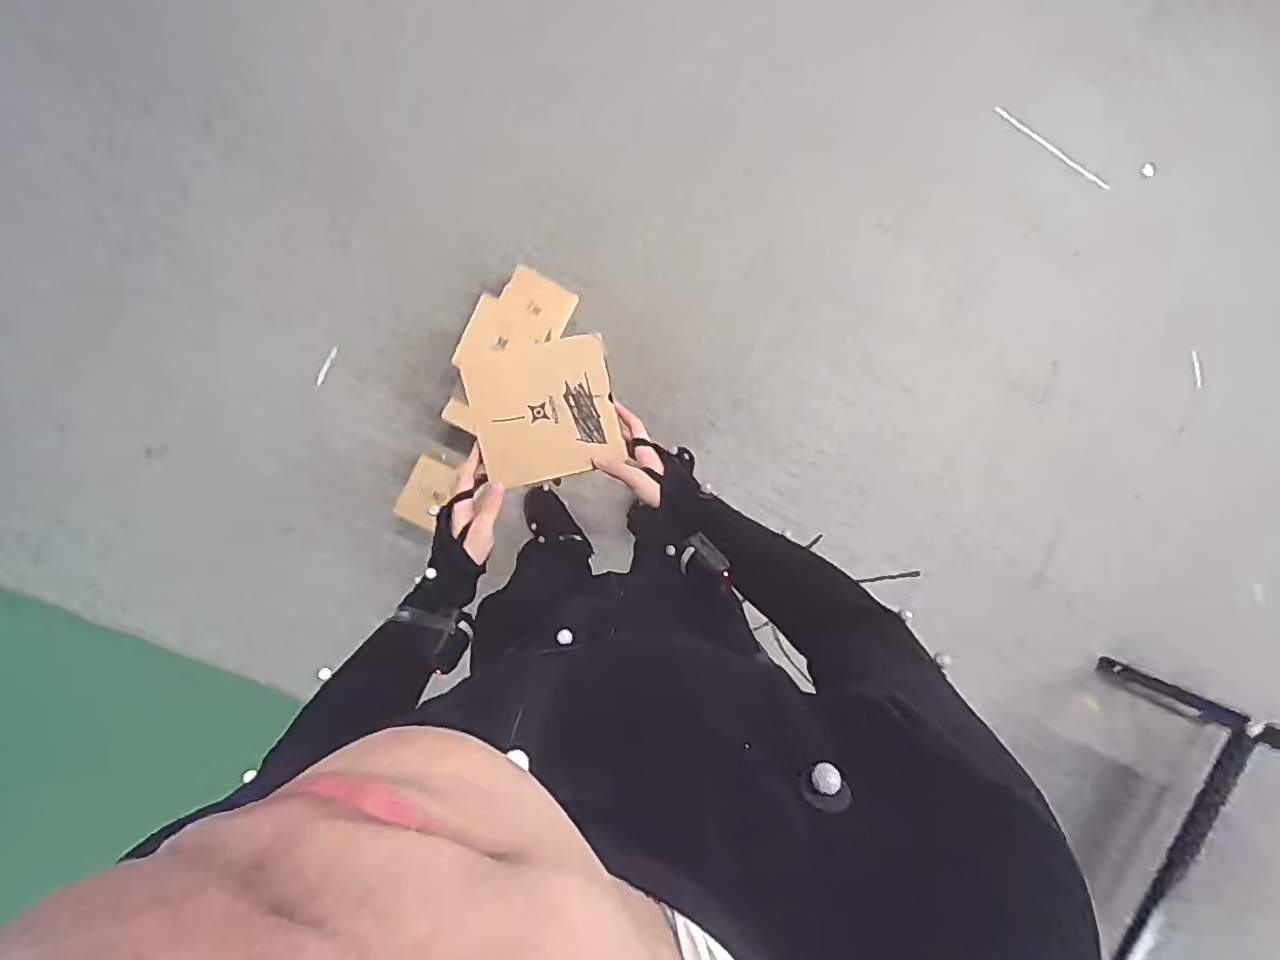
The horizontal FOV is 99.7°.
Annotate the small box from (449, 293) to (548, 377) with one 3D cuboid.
[{"bbox_3d":[-0.324,-0.306,1.277,0.168,0.176,0.179,25,89,-11],"label":"small box"}]

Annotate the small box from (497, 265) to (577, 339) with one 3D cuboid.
[{"bbox_3d":[-0.283,-0.437,1.439,0.179,0.176,0.168,27,91,-10],"label":"small box"}]

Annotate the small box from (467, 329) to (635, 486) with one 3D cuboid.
[{"bbox_3d":[-0.117,-0.095,0.730,0.179,0.176,0.168,-12,96,-7],"label":"small box"}]
